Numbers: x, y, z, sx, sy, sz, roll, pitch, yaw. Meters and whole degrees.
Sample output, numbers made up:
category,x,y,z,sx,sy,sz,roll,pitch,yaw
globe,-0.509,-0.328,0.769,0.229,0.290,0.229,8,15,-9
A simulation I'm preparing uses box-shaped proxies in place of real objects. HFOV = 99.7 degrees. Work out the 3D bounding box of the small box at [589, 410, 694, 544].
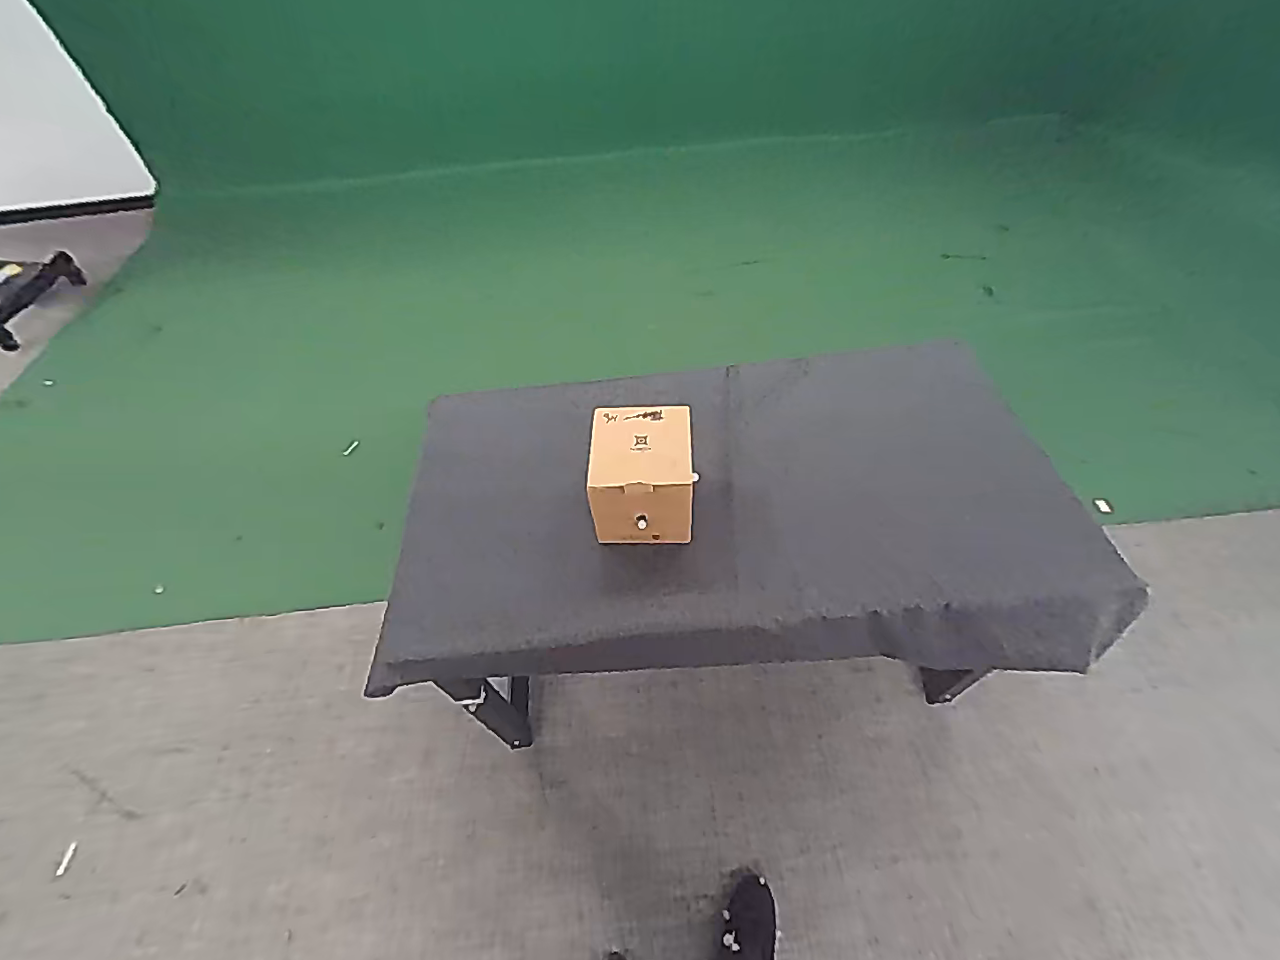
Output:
category,x,y,z,sx,sy,sz,roll,pitch,yaw
small box,0.007,0.001,0.948,0.168,0.176,0.179,-4,51,3
